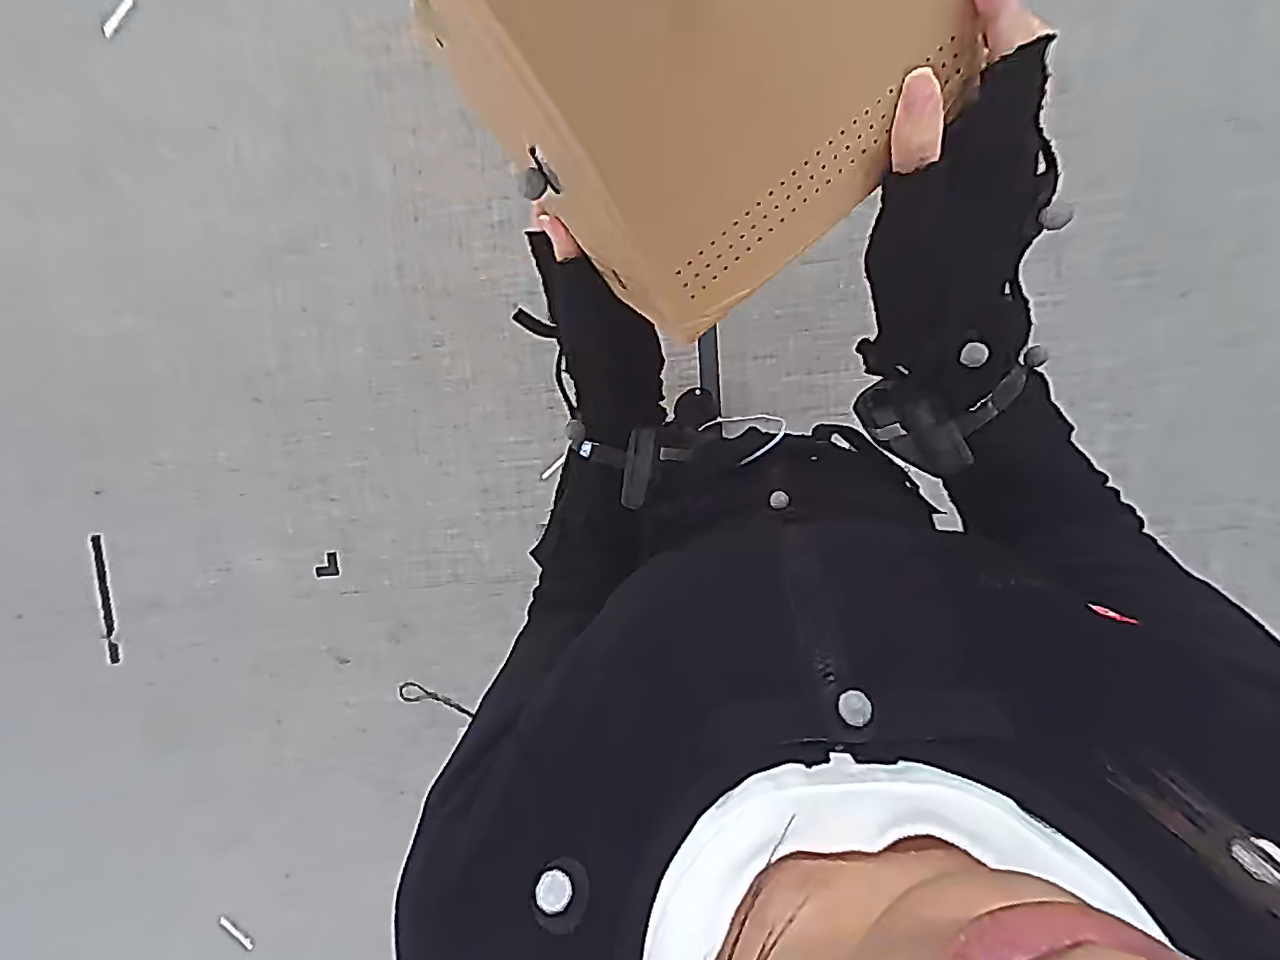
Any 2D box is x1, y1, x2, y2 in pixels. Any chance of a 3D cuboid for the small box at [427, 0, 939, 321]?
[{"bbox_3d":[0.018,-0.212,0.281,0.179,0.168,0.176,-40,127,2],"label":"small box"}]
